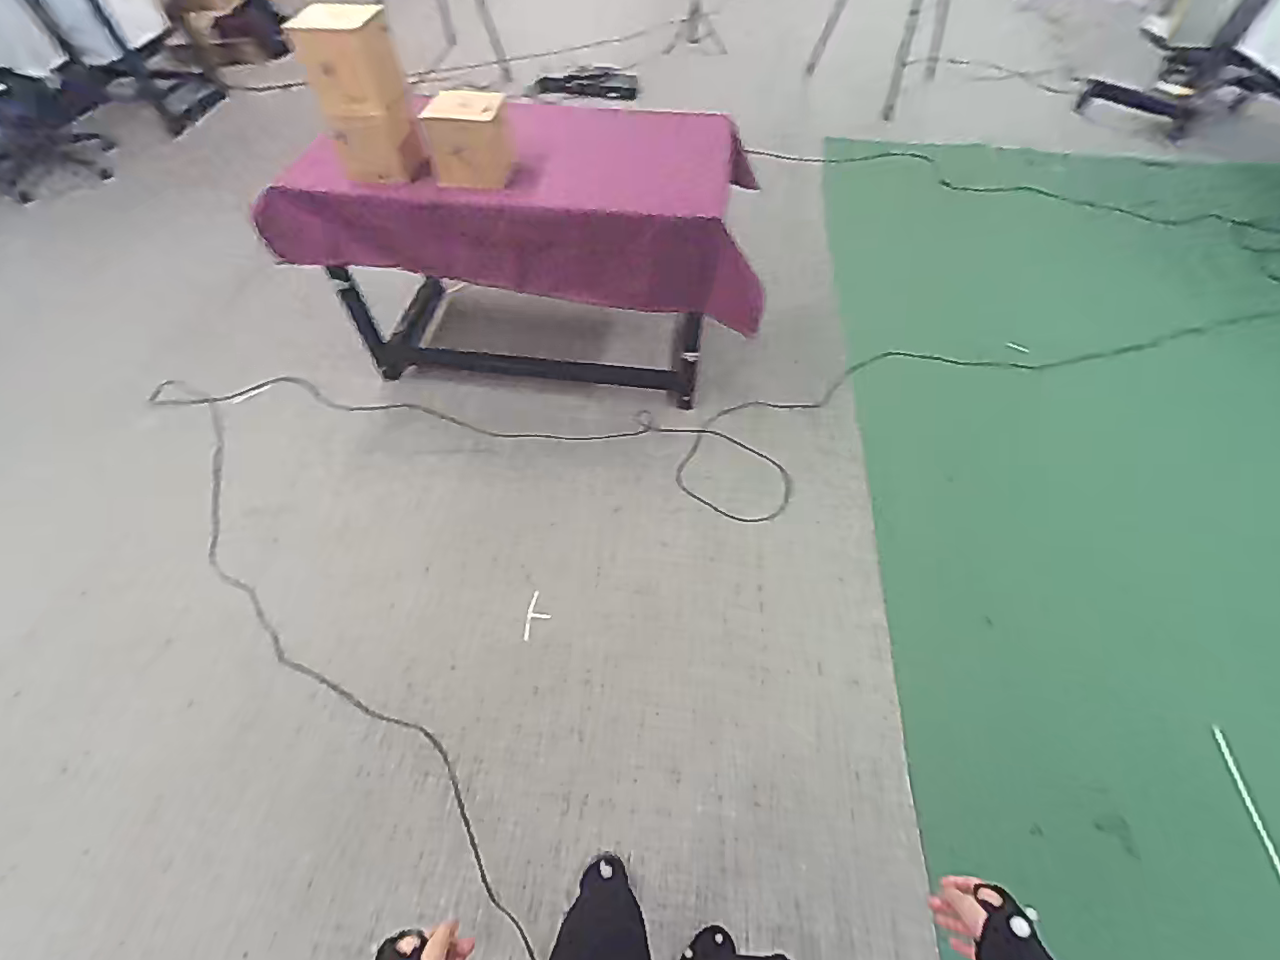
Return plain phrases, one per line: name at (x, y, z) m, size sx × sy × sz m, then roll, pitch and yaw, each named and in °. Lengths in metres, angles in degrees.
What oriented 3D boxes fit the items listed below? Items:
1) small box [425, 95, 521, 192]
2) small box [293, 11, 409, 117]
small box at (-0.430, -0.882, 1.421) m, size 0.179 × 0.176 × 0.168 m, roll 5°, pitch 55°, yaw 4°
small box at (-0.688, -1.007, 1.313) m, size 0.168 × 0.176 × 0.179 m, roll 3°, pitch 53°, yaw 2°
